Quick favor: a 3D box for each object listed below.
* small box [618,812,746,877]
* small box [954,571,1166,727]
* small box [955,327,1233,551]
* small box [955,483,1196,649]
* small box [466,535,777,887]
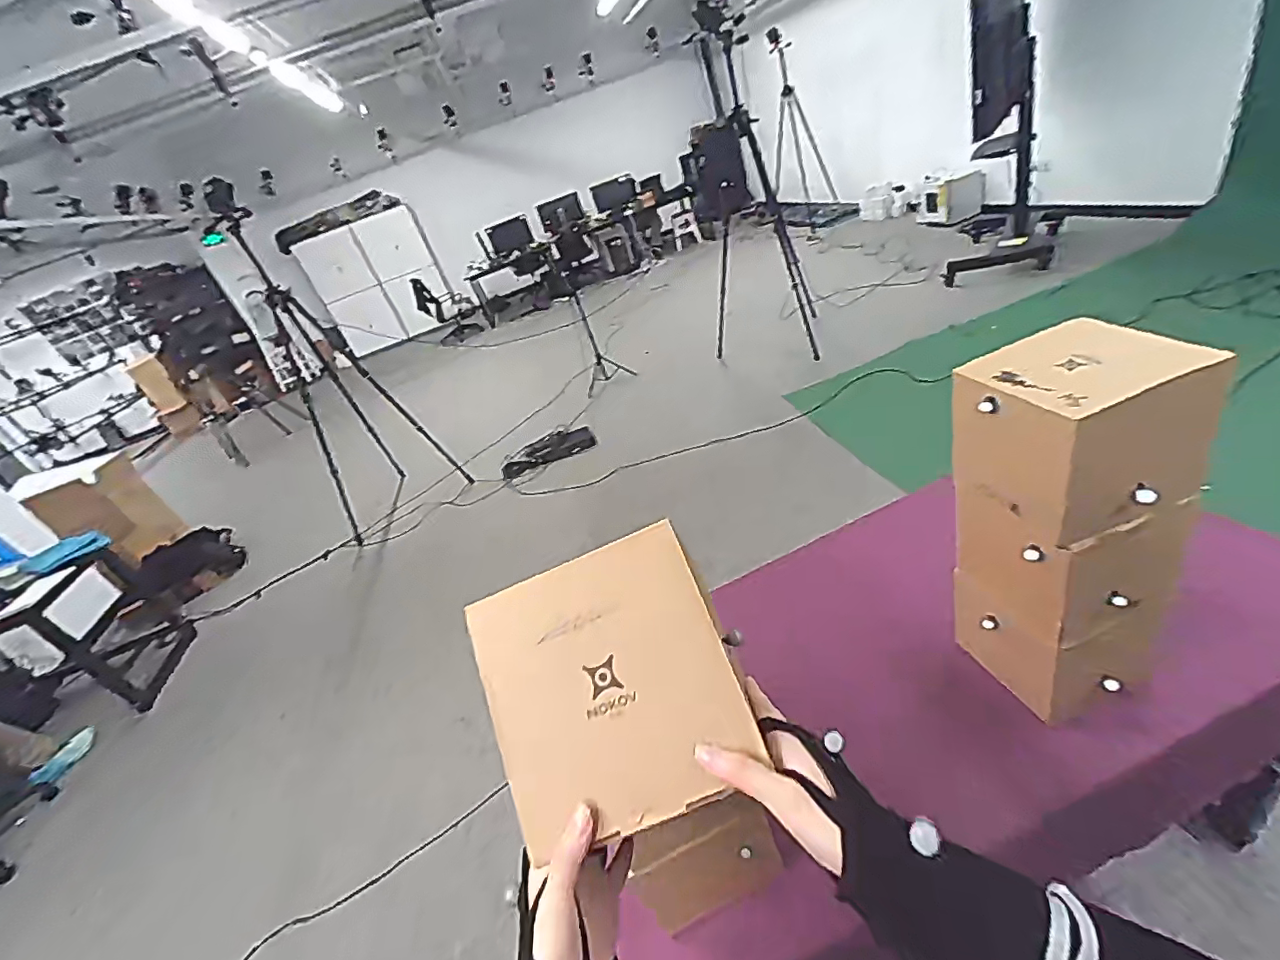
[{"bbox_3d":[0.018,0.316,0.642,0.179,0.176,0.168,-25,30,-8],"label":"small box"},{"bbox_3d":[0.589,0.214,0.784,0.168,0.176,0.179,-24,31,-4],"label":"small box"},{"bbox_3d":[0.490,-0.050,0.618,0.179,0.176,0.168,-21,30,-3],"label":"small box"},{"bbox_3d":[0.541,0.081,0.703,0.168,0.176,0.179,-23,31,-4],"label":"small box"},{"bbox_3d":[-0.006,0.164,0.426,0.168,0.176,0.179,-23,71,3],"label":"small box"}]
